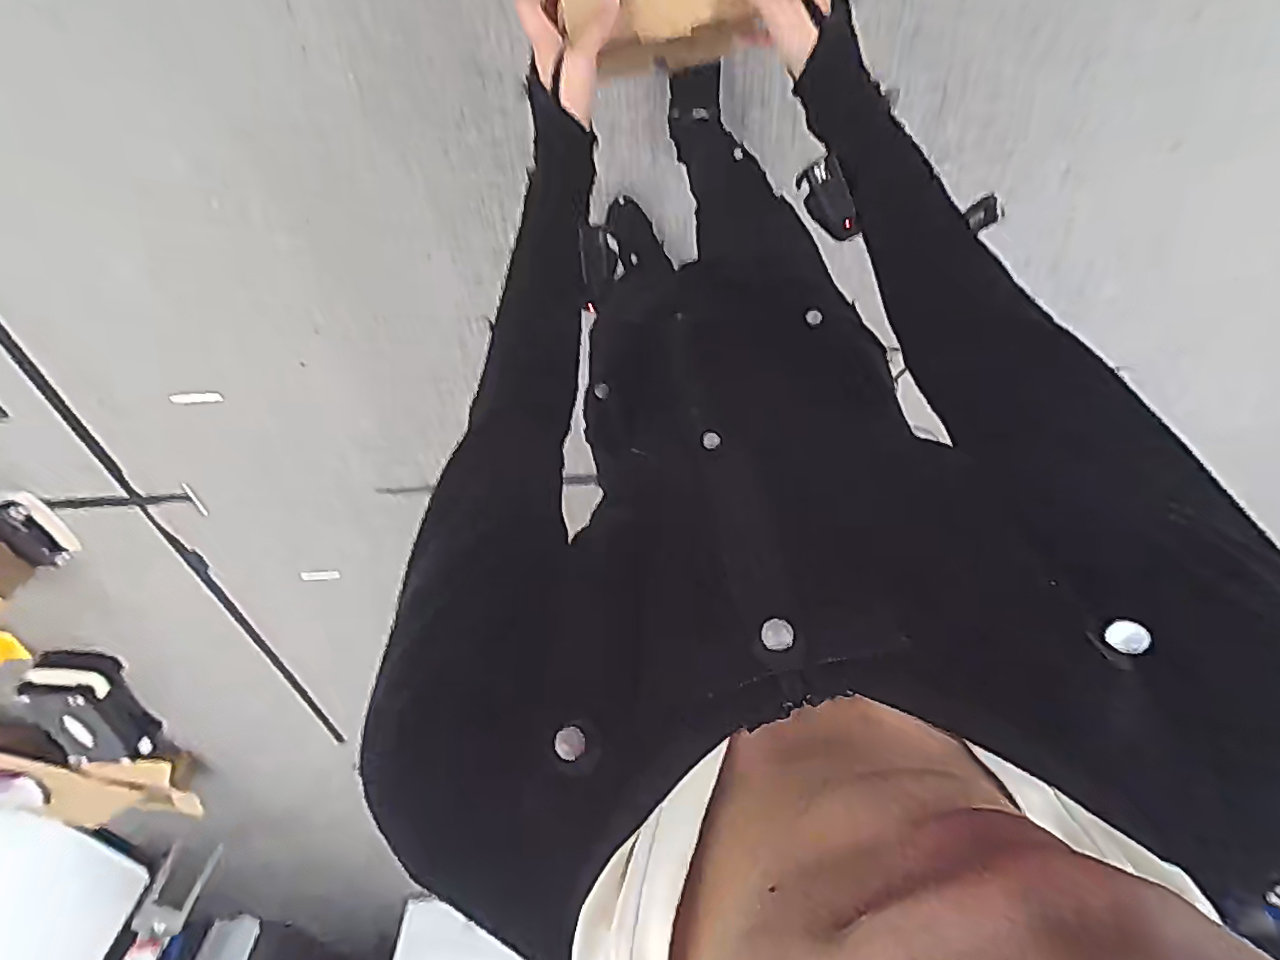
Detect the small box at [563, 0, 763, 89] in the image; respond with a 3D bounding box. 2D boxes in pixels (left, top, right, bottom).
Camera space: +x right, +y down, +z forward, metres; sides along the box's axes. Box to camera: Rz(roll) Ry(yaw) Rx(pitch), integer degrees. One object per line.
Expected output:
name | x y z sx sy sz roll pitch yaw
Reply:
small box | 0.010 -0.484 0.487 0.168 0.176 0.179 -7 117 6
